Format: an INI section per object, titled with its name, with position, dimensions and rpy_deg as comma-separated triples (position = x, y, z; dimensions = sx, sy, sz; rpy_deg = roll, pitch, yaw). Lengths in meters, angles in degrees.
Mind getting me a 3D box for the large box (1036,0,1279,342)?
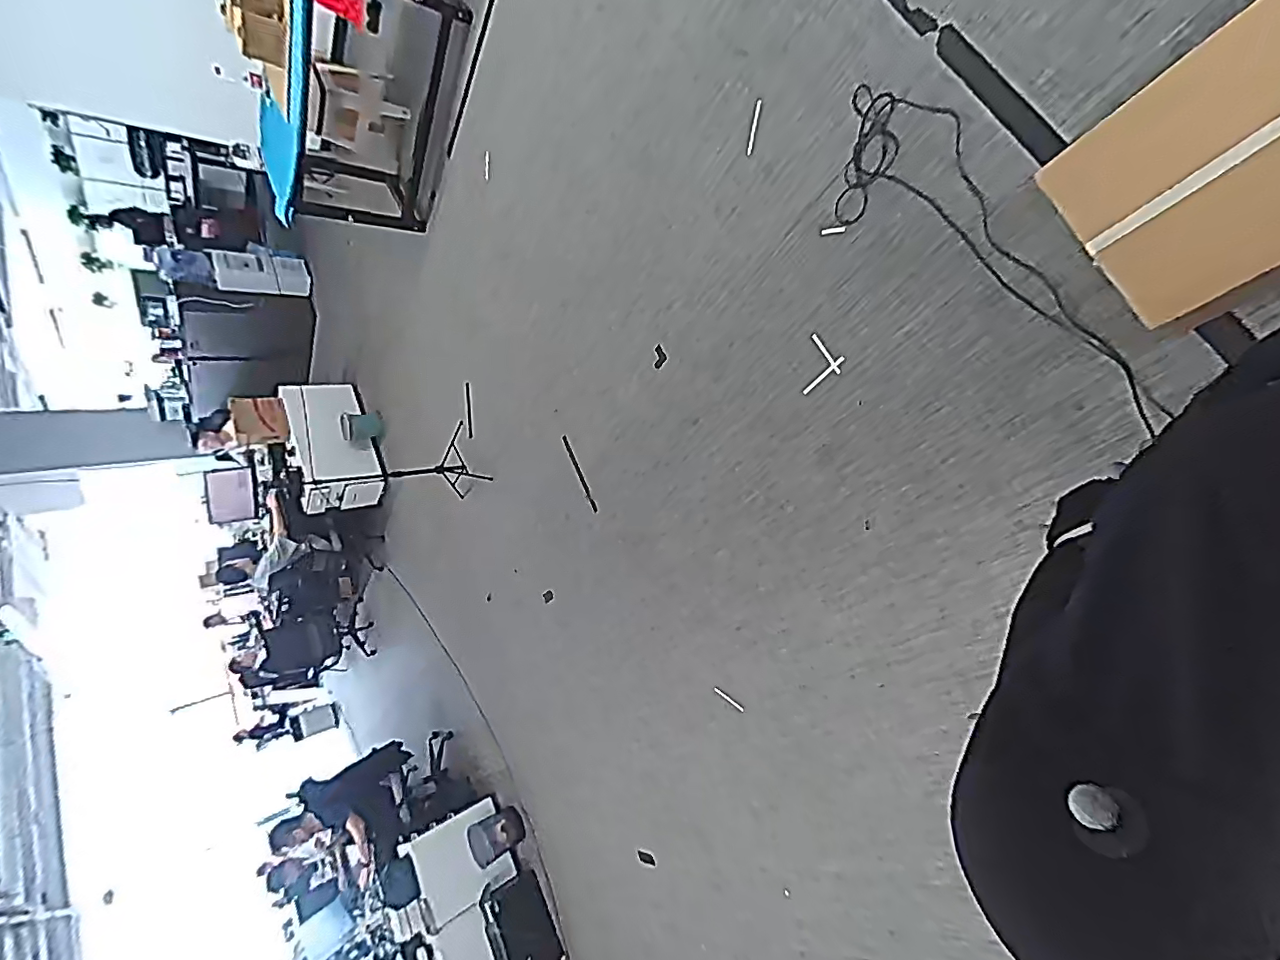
[large box]
position = 0.922, -0.453, 0.803
dimensions = 0.408, 0.320, 0.320
rpy_deg = -39, 68, 45
